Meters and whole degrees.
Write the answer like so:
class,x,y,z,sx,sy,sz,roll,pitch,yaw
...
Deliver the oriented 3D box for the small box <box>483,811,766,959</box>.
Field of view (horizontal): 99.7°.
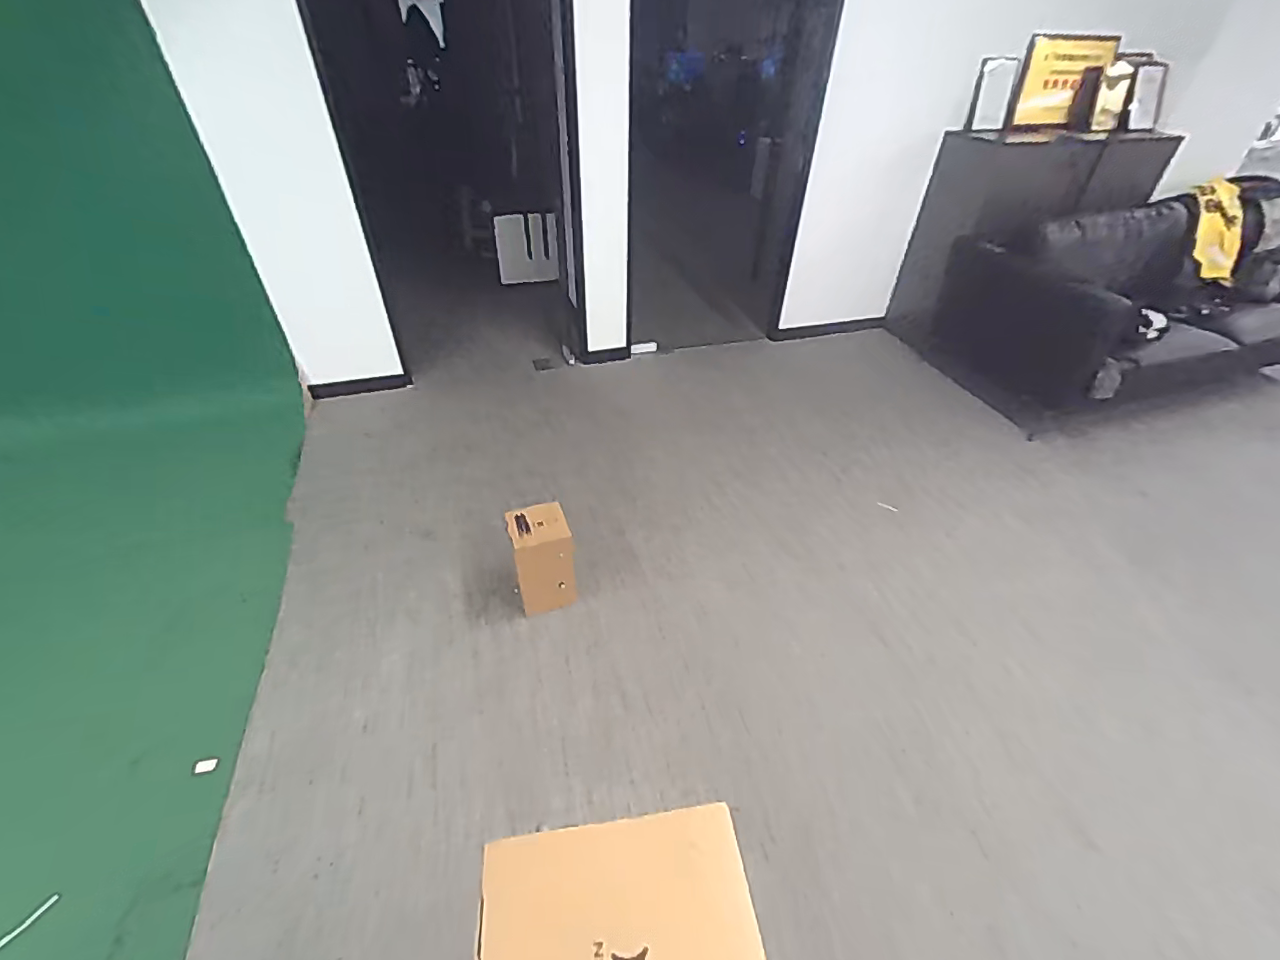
class,x,y,z,sx,sy,sz,roll,pitch,yaw
small box,-0.010,0.361,0.379,0.179,0.176,0.168,-6,42,-8
